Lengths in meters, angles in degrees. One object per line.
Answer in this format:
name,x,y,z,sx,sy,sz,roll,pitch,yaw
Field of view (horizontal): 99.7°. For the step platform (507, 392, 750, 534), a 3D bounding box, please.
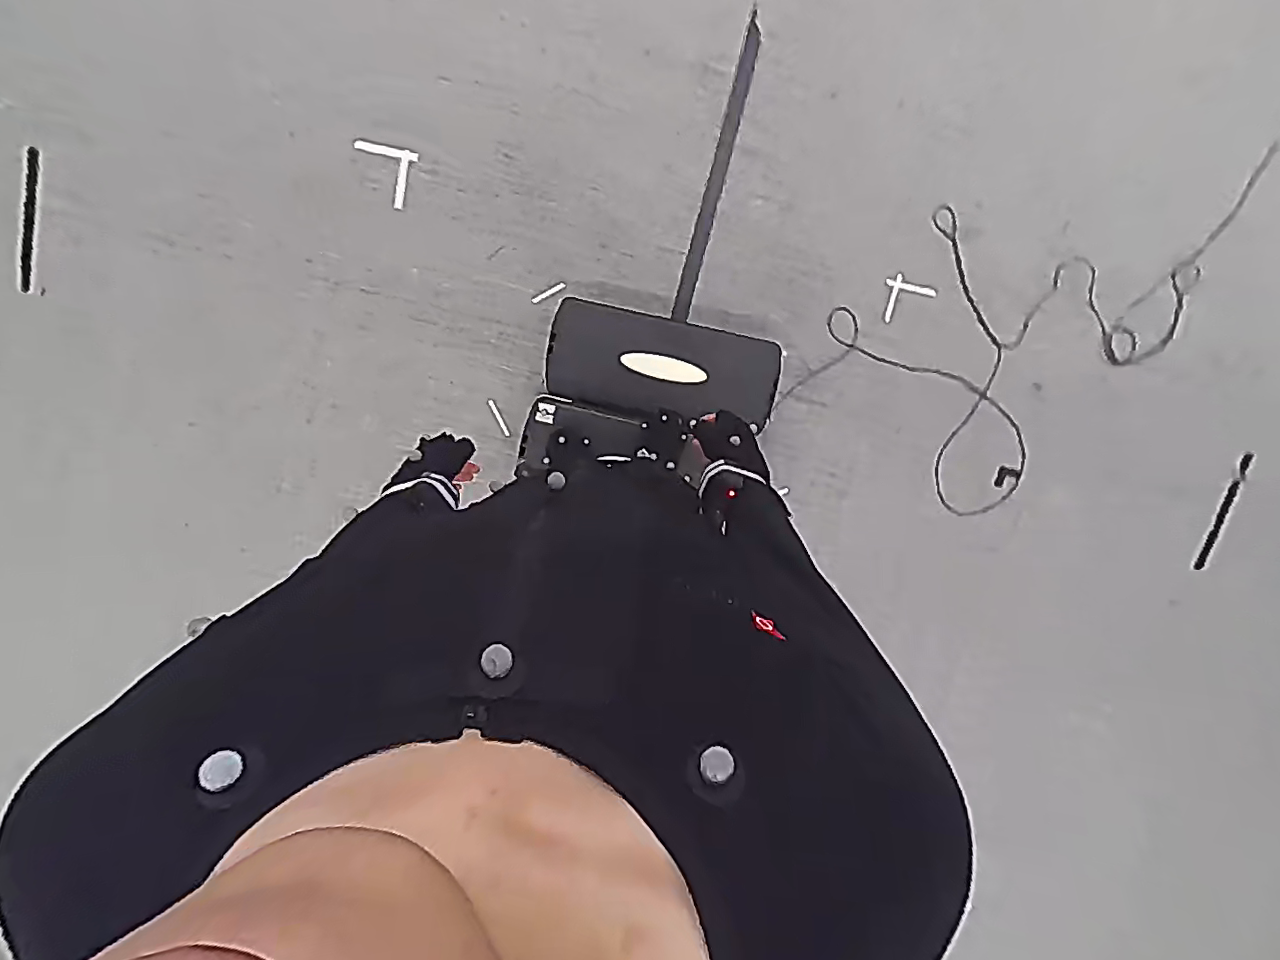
step platform,-0.032,-0.050,1.570,0.684,0.204,0.286,12,98,-2
